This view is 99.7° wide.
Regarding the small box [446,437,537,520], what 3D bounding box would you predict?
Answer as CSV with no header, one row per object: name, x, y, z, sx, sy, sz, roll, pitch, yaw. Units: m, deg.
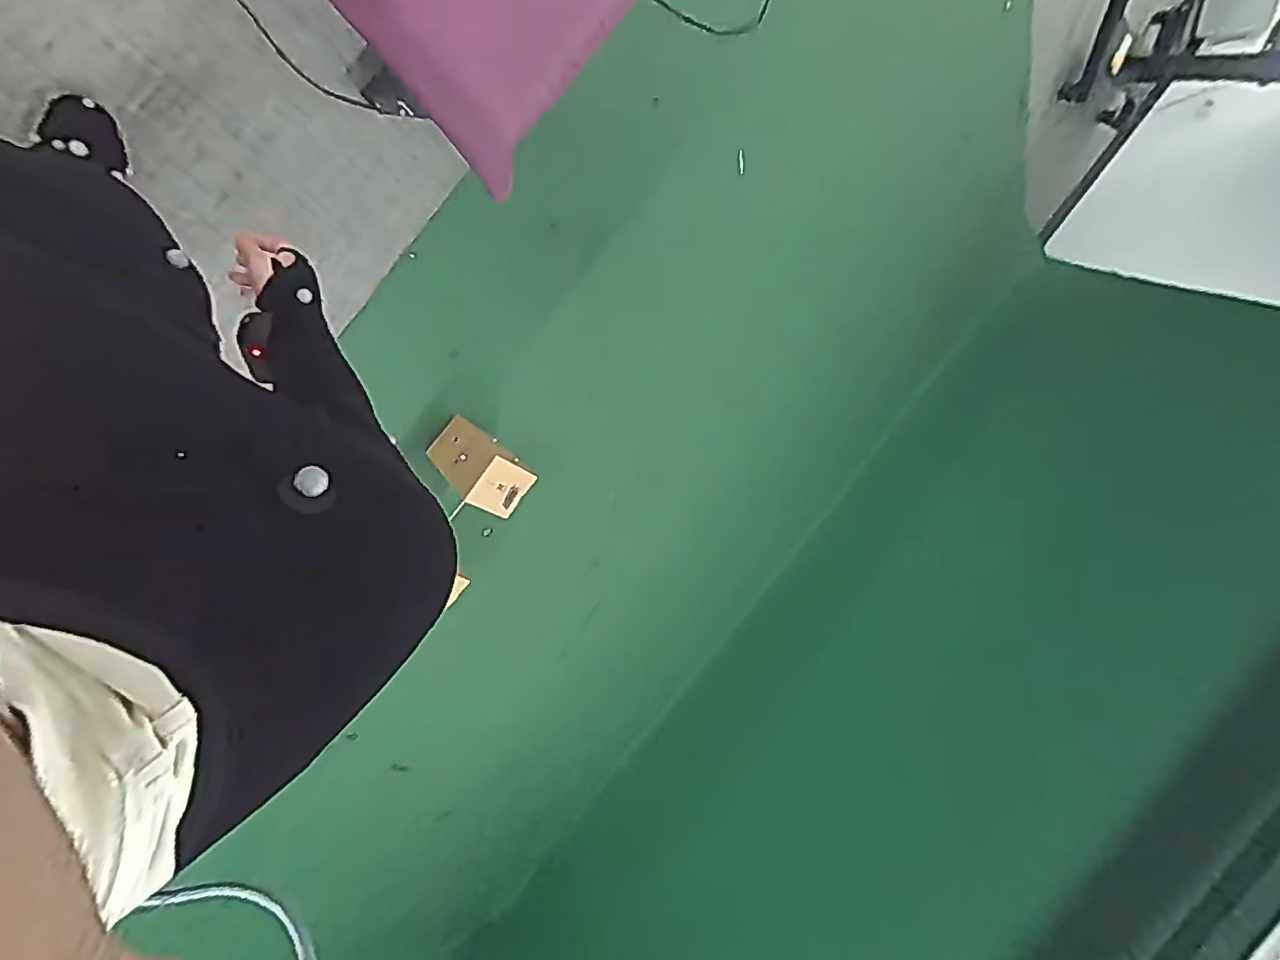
small box,-0.458,-0.009,1.663,0.168,0.176,0.179,-54,138,2

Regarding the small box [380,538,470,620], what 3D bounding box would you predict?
small box,-0.675,0.308,1.695,0.168,0.176,0.179,-49,140,-2

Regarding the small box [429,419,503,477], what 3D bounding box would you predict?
small box,-0.559,-0.078,1.776,0.168,0.176,0.179,-52,140,0
